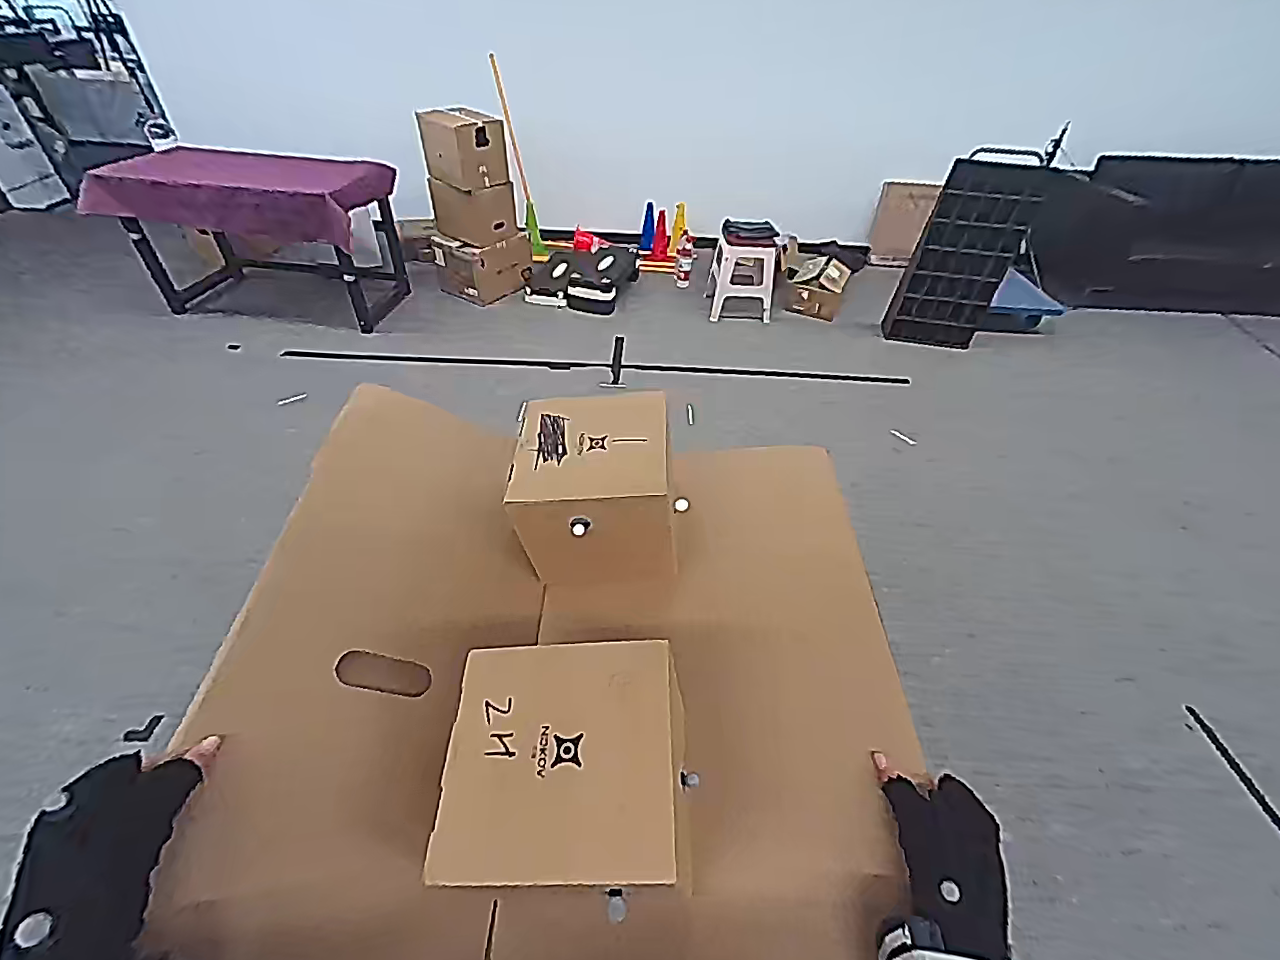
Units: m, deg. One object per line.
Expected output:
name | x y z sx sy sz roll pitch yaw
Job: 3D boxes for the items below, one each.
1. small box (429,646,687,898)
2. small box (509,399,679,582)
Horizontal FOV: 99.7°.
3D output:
small box | -0.049 0.259 0.477 0.179 0.176 0.168 -4 49 7
small box | -0.044 0.018 0.683 0.179 0.176 0.168 -3 49 6
